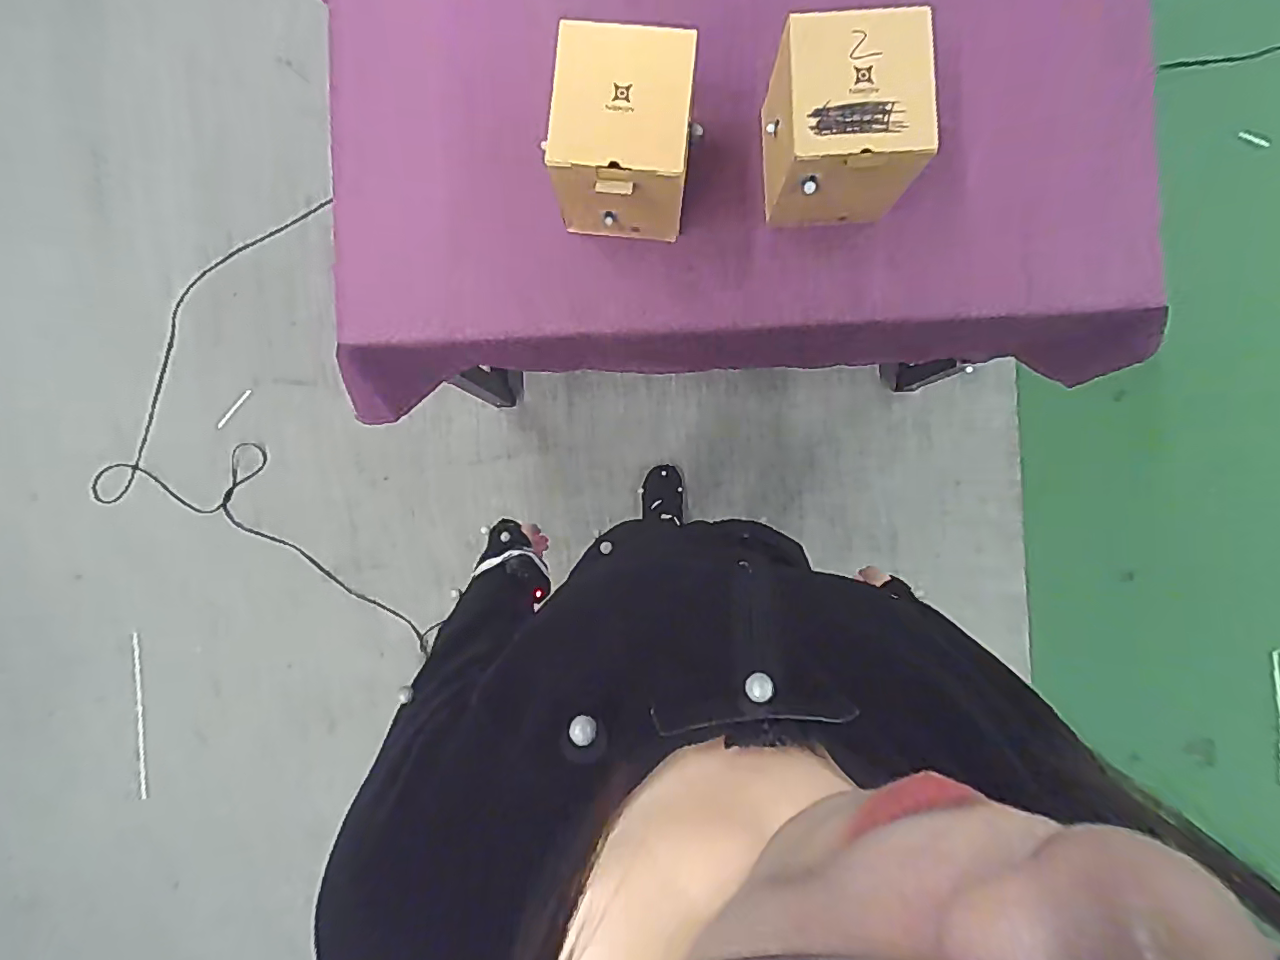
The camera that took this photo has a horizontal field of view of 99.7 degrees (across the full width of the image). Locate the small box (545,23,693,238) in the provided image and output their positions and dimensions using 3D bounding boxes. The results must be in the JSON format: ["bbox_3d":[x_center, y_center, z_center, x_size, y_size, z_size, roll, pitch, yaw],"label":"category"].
[{"bbox_3d":[-0.024,-0.456,0.729,0.168,0.176,0.179,6,90,2],"label":"small box"}]
